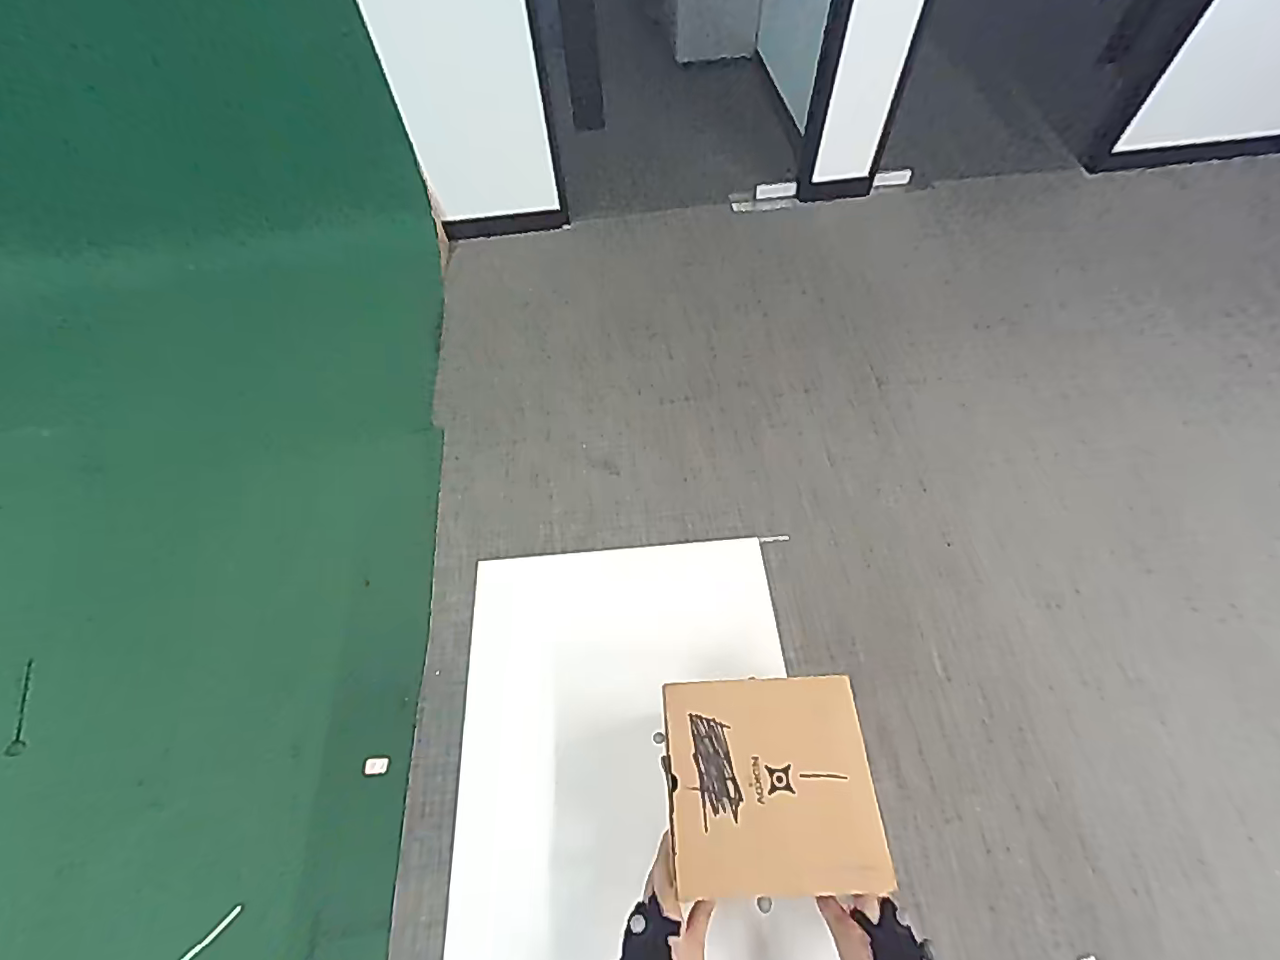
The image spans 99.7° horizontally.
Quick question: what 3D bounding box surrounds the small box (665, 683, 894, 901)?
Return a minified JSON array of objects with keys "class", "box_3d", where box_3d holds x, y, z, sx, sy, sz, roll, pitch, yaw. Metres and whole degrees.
[{"class":"small box","box_3d":[0.117,0.307,0.536,0.179,0.176,0.168,-2,58,1]}]
